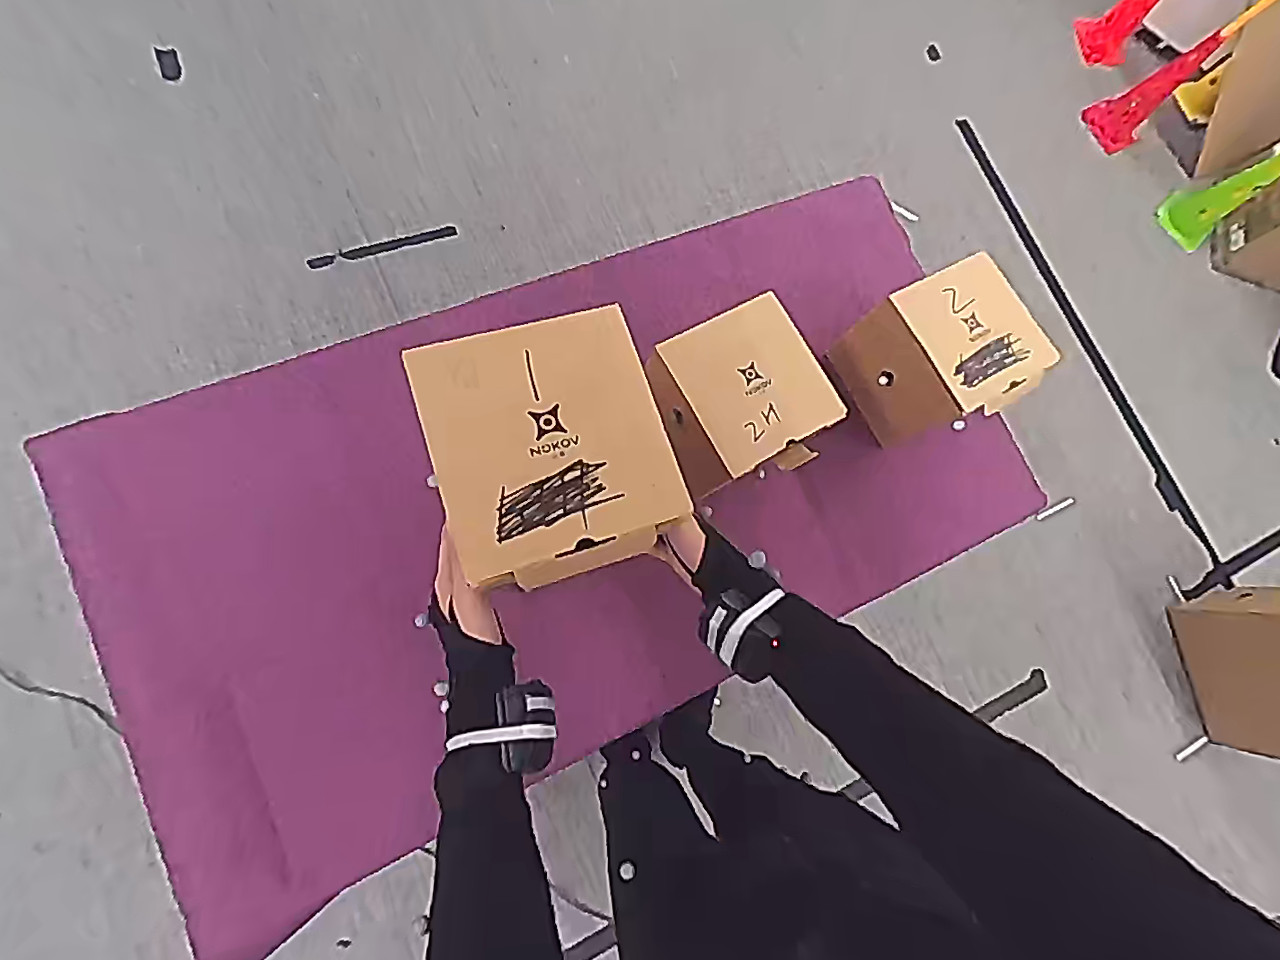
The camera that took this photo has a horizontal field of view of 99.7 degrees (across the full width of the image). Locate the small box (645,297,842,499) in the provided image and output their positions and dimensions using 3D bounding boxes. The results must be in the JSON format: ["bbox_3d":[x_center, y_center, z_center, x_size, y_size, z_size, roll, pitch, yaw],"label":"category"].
[{"bbox_3d":[0.114,-0.094,0.697,0.168,0.176,0.179,-28,85,-12],"label":"small box"}]

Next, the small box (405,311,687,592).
[{"bbox_3d":[-0.078,-0.012,0.465,0.168,0.176,0.179,-17,80,-13],"label":"small box"}]
